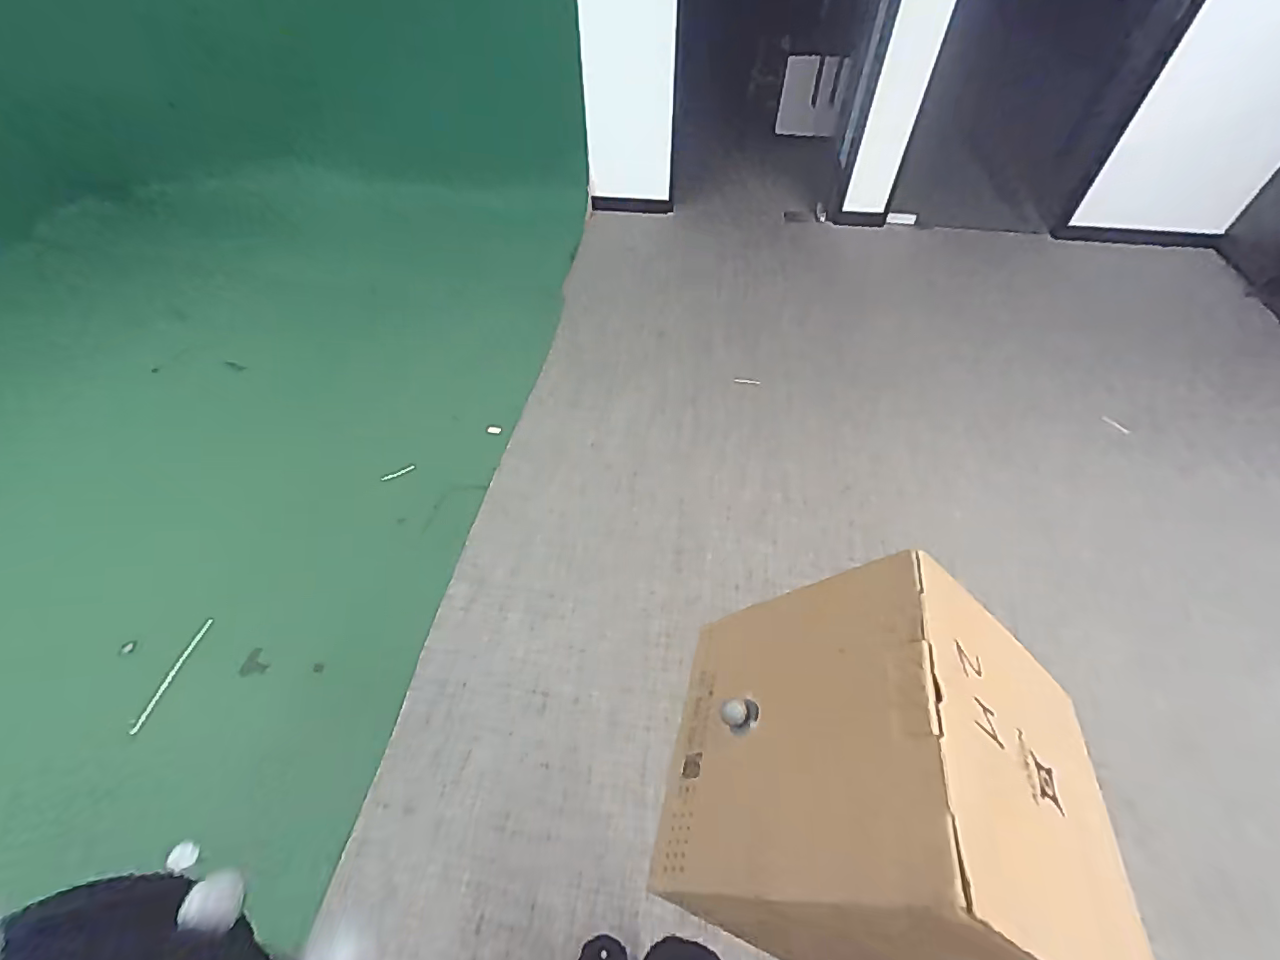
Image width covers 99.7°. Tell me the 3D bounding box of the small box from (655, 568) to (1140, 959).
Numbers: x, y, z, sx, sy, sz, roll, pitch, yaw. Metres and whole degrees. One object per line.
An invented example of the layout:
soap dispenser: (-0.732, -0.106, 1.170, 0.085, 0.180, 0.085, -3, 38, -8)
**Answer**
small box: (0.140, 0.185, 0.317, 0.179, 0.176, 0.168, 40, 42, -18)
